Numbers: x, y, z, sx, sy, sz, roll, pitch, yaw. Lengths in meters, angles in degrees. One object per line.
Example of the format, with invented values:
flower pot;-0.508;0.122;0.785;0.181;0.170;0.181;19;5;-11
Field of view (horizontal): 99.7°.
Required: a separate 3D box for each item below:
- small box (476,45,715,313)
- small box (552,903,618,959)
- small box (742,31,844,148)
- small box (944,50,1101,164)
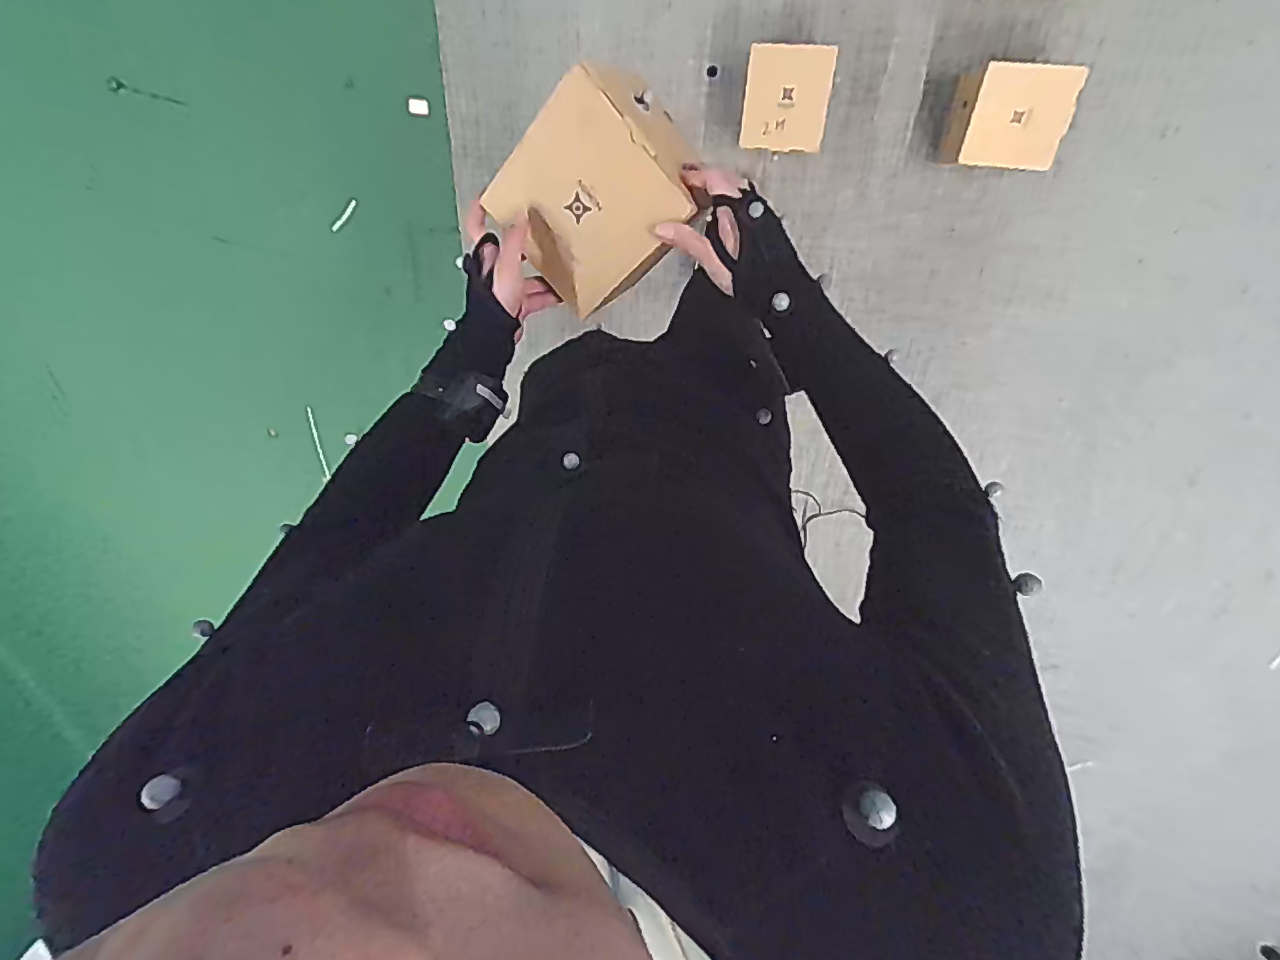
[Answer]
small box;-0.036;-0.322;0.591;0.179;0.176;0.168;-33;105;36
small box;-0.166;1.407;1.666;0.168;0.176;0.179;6;122;9
small box;0.306;-0.795;1.115;0.168;0.176;0.179;9;121;8
small box;0.733;-0.725;1.066;0.179;0.176;0.168;8;121;7
